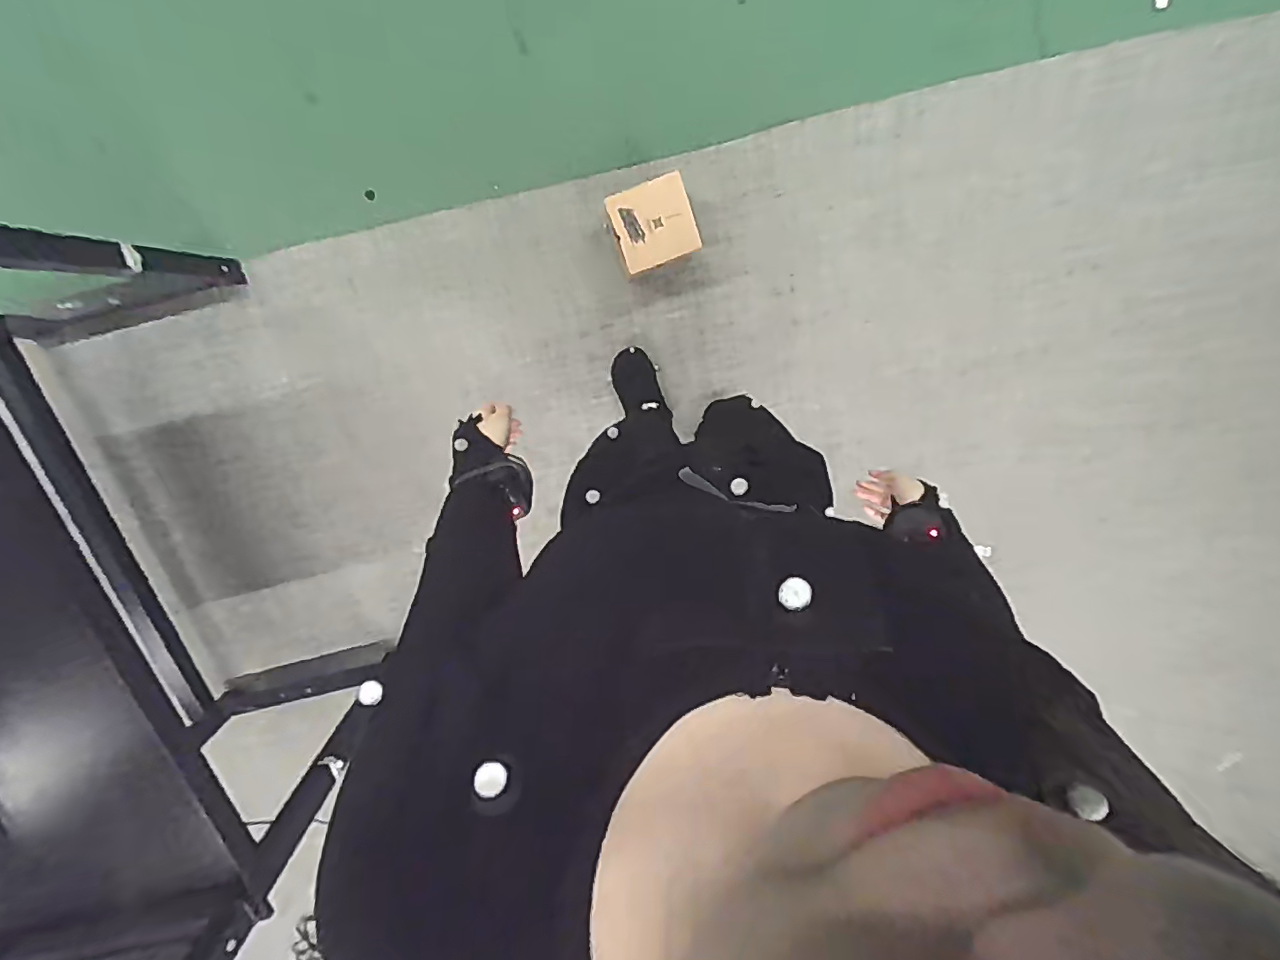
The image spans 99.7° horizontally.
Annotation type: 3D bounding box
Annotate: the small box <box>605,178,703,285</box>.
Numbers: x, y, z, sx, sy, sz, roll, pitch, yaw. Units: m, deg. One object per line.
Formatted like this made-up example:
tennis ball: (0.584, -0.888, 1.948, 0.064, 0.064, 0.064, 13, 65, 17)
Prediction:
small box: (0.030, -0.561, 1.249, 0.179, 0.176, 0.168, -20, 106, 3)
